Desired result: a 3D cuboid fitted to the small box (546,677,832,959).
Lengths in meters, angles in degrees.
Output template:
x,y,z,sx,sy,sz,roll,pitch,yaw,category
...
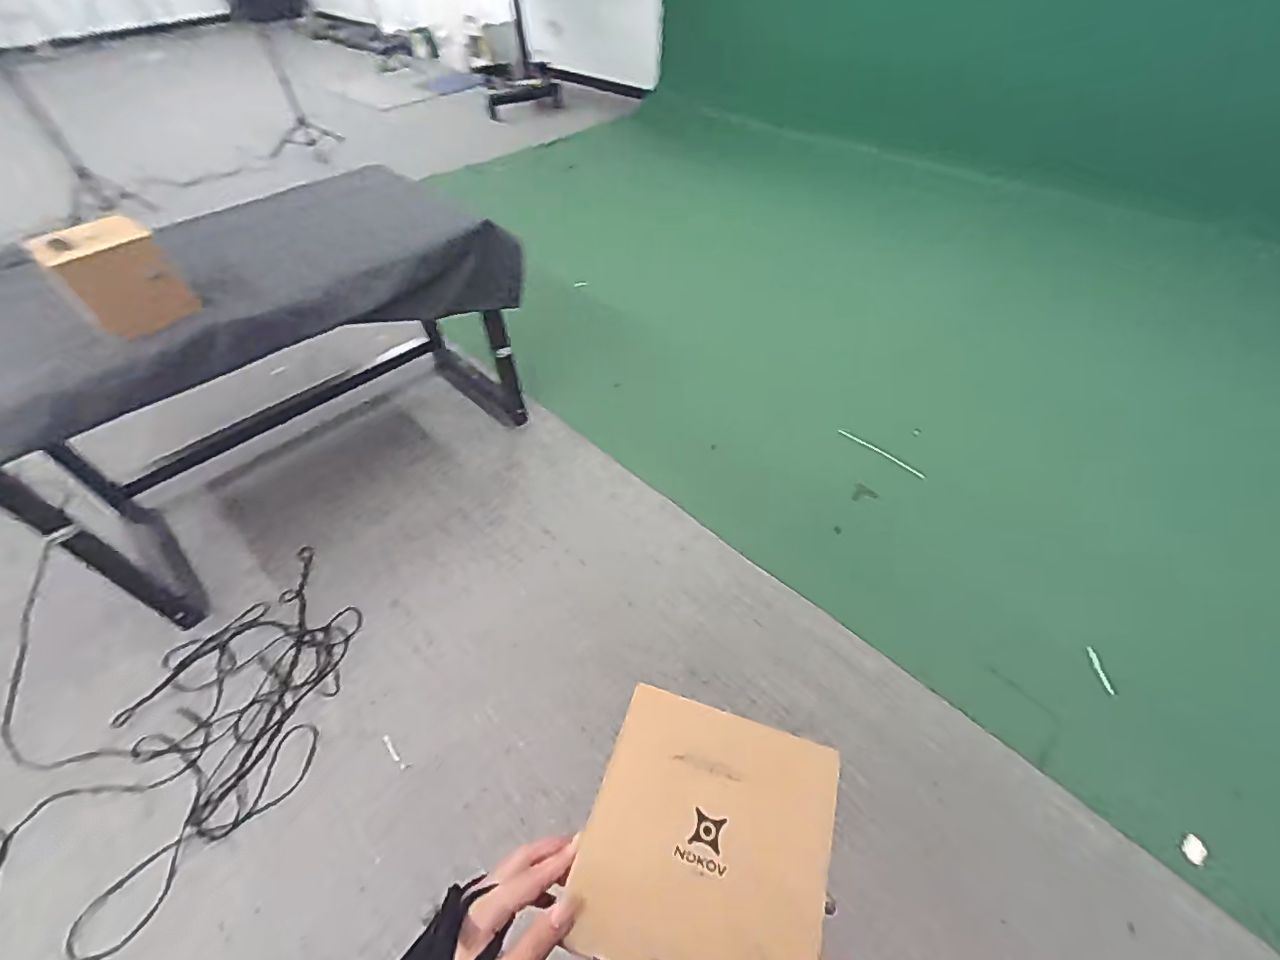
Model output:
x,y,z,sx,sy,sz,roll,pitch,yaw,category
0.044,0.296,0.439,0.168,0.176,0.179,14,51,12,small box
